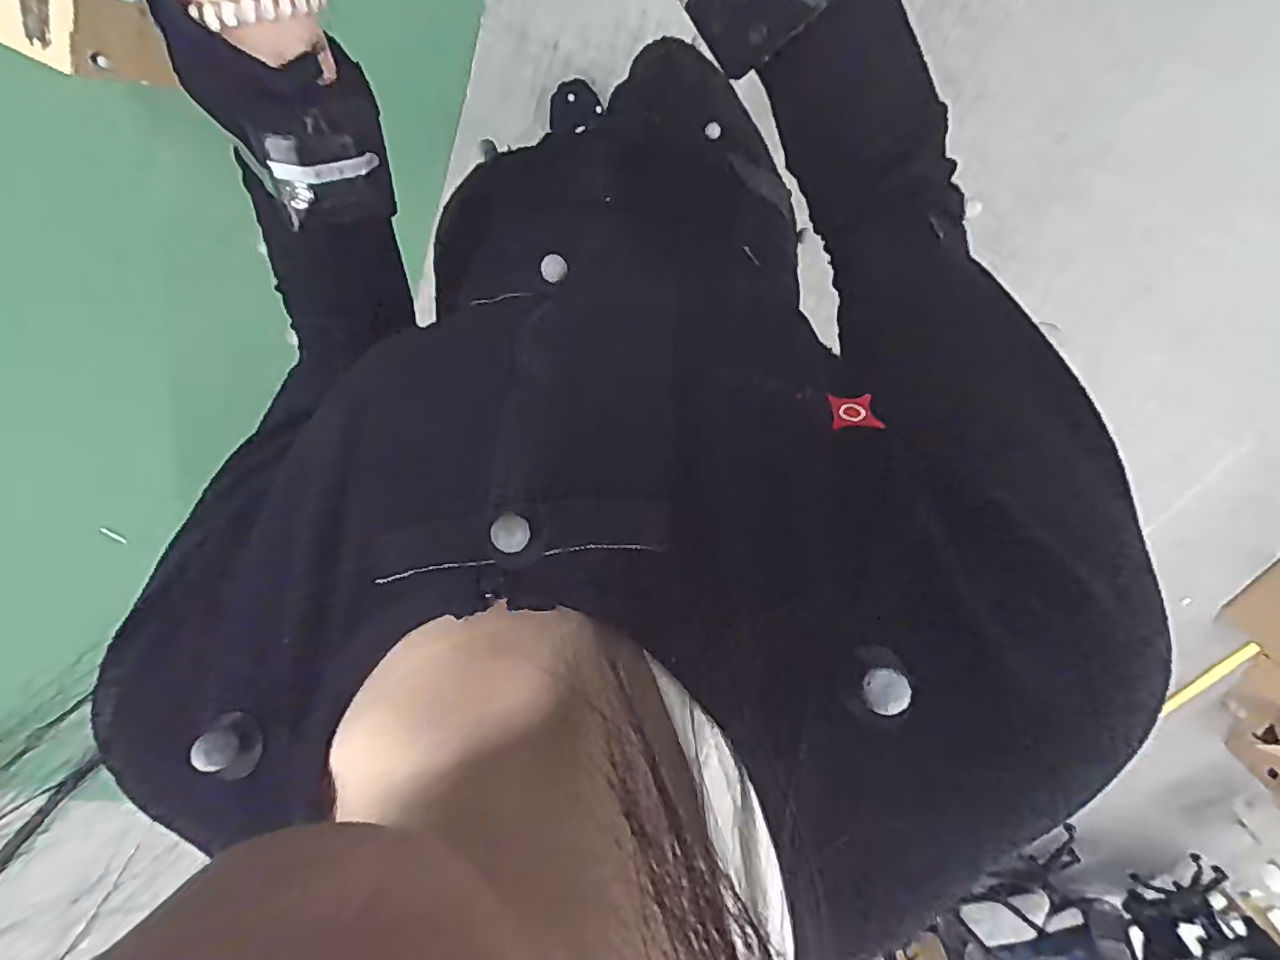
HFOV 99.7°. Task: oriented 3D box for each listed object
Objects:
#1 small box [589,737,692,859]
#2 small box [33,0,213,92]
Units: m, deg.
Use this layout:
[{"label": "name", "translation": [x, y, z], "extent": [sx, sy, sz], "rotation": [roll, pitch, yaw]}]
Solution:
[{"label": "small box", "translation": [-0.006, 0.690, 1.179], "extent": [0.168, 0.176, 0.179], "rotation": [19, 122, -16]}, {"label": "small box", "translation": [-0.905, -0.829, 0.961], "extent": [0.179, 0.176, 0.168], "rotation": [23, 119, -19]}]
